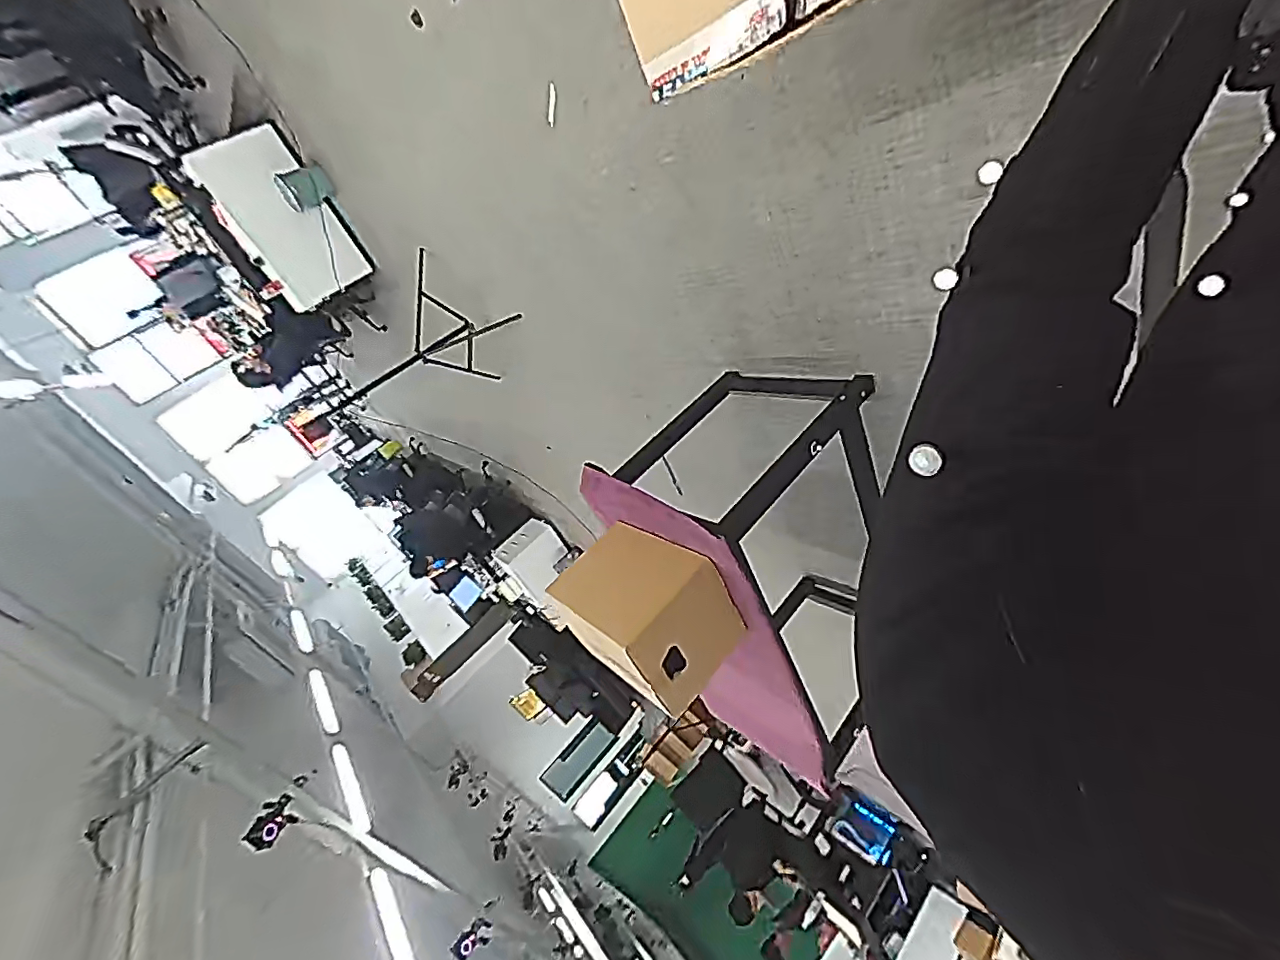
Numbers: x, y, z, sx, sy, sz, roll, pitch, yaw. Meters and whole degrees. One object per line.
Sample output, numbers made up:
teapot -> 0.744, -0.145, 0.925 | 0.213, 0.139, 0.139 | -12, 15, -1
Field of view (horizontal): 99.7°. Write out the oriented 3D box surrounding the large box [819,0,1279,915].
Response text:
large box -> 0.354, -0.025, 0.184 | 0.408, 0.320, 0.320 | 52, 173, 5
